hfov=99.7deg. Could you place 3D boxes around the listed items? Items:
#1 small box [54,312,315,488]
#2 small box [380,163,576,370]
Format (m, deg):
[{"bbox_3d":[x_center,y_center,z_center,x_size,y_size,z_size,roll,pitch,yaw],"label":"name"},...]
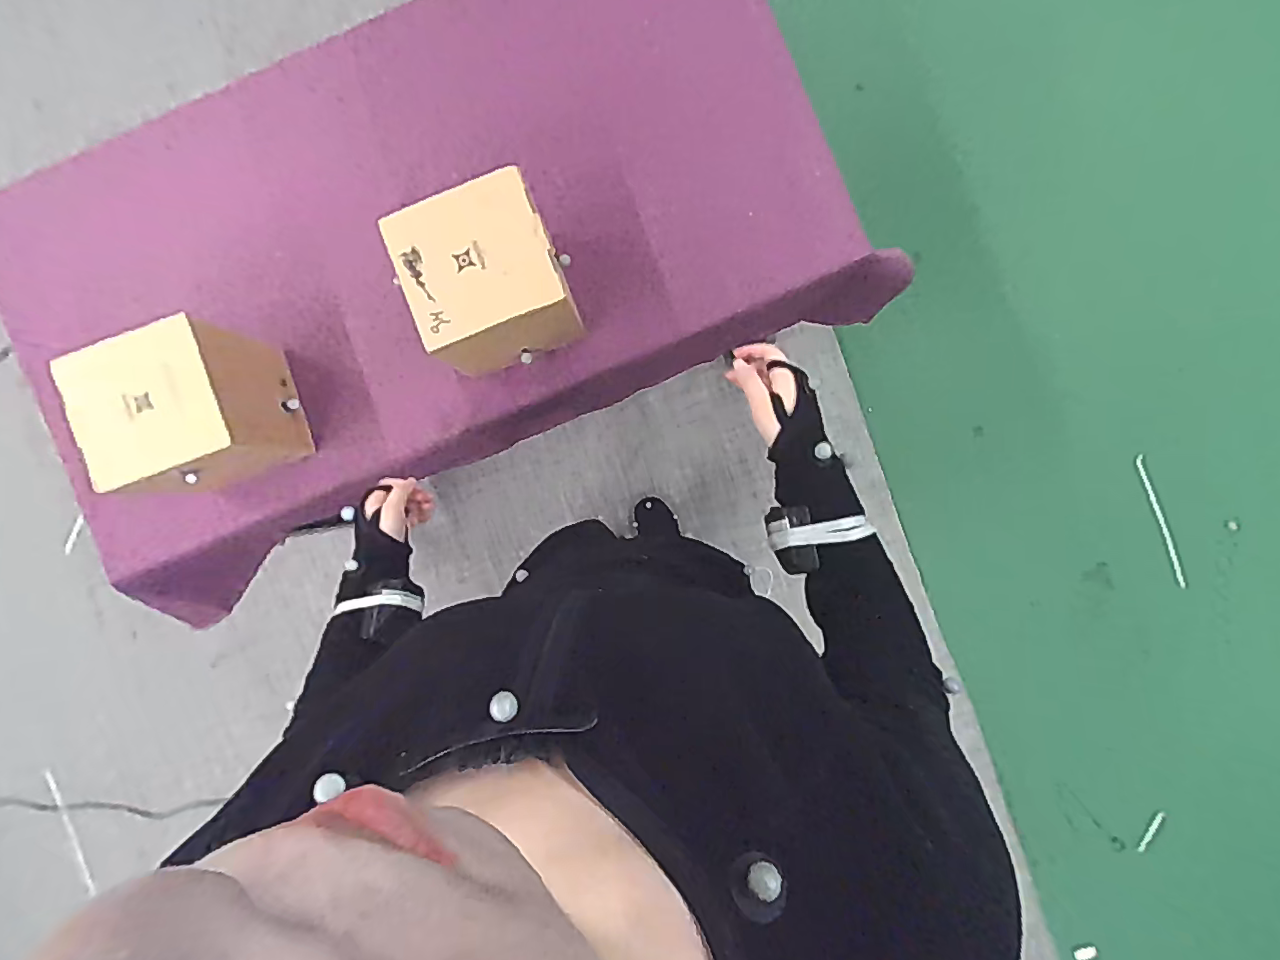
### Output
[{"bbox_3d":[-0.578,-0.092,0.710,0.179,0.176,0.168,-20,91,0],"label":"small box"},{"bbox_3d":[-0.190,-0.259,0.698,0.179,0.176,0.168,-21,90,1],"label":"small box"}]
